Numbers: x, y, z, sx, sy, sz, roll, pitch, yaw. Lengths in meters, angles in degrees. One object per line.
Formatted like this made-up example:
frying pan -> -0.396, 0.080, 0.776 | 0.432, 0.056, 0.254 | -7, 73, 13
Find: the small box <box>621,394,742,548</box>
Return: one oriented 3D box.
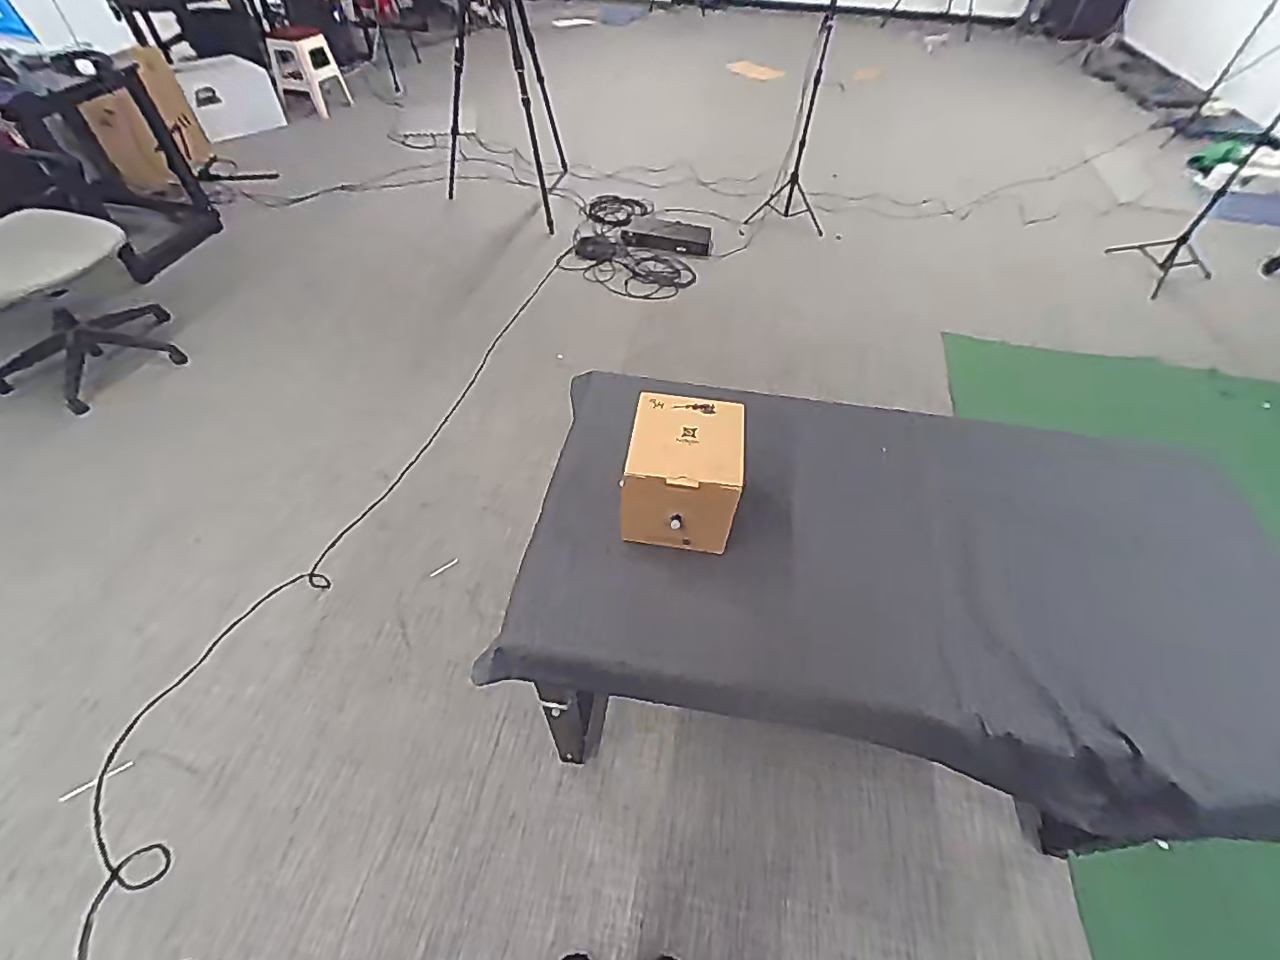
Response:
small box -> 0.066, -0.011, 0.862 | 0.168, 0.176, 0.179 | 7, 51, 4
